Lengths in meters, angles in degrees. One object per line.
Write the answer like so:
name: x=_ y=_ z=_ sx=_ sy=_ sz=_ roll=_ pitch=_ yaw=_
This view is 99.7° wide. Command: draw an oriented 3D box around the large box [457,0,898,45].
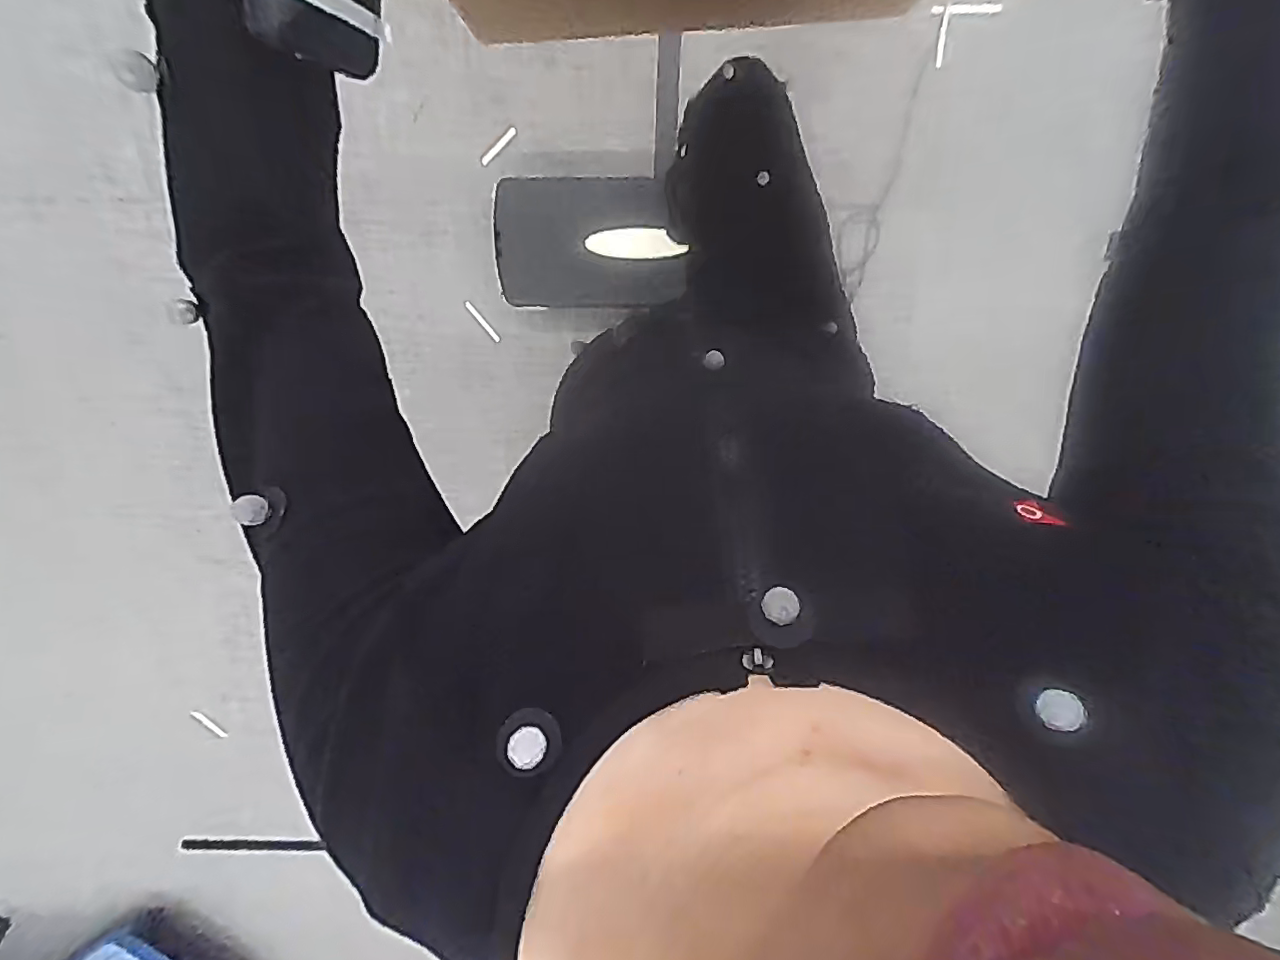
large box: x=0.038 y=-0.512 z=0.318 sx=0.408 sy=0.320 sz=0.320 roll=-5 pitch=114 yaw=0
